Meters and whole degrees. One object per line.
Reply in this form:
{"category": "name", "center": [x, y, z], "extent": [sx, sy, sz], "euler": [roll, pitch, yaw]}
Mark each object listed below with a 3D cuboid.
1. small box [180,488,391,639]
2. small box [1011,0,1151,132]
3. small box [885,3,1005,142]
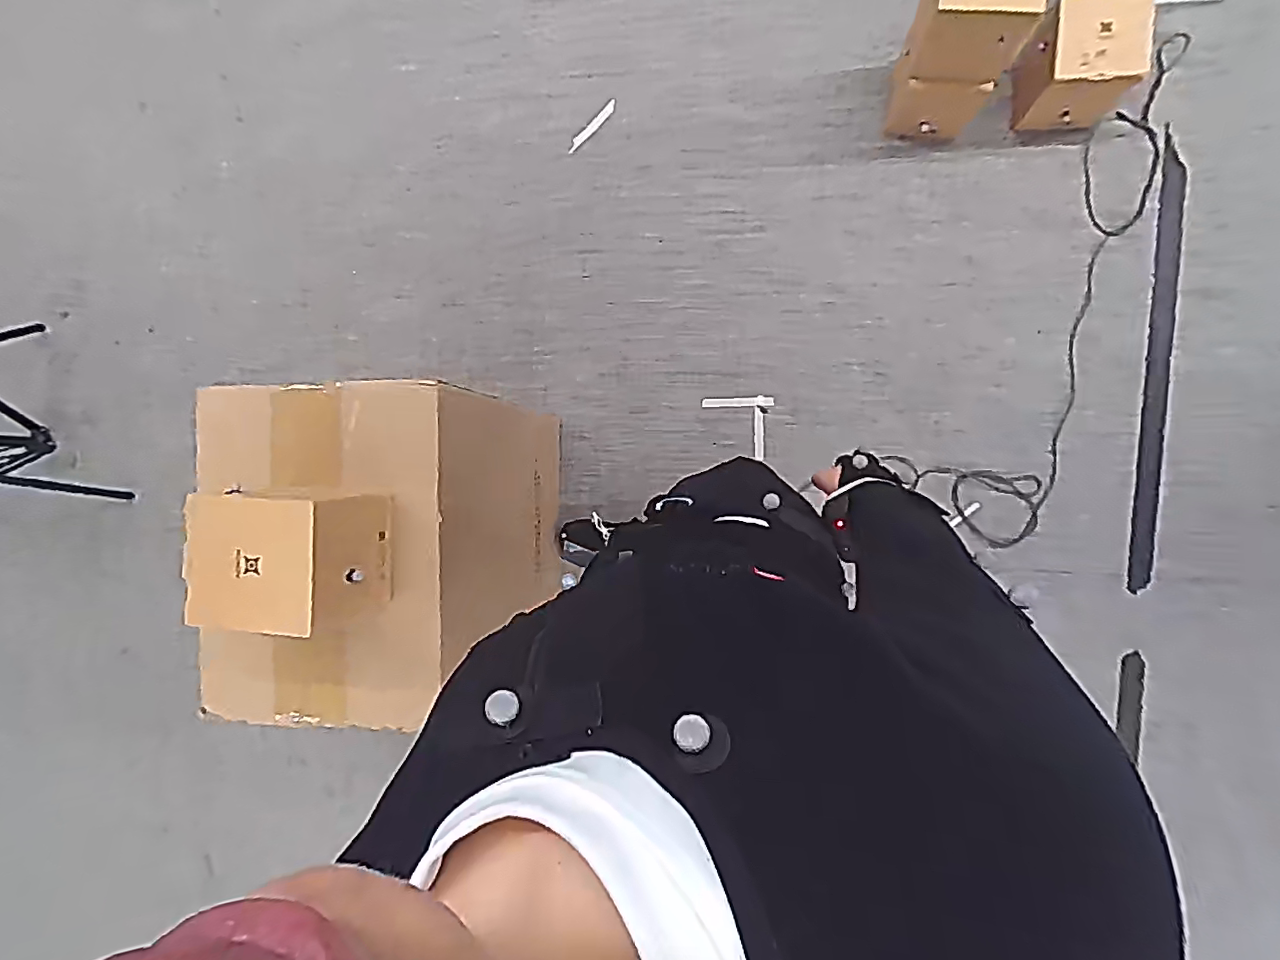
{"category": "small box", "center": [-0.454, 0.099, 0.716], "extent": [0.179, 0.176, 0.168], "euler": [2, 92, 8]}
{"category": "small box", "center": [0.913, -0.870, 1.136], "extent": [0.168, 0.176, 0.179], "euler": [4, 92, 10]}
{"category": "small box", "center": [0.650, -0.877, 1.173], "extent": [0.168, 0.176, 0.179], "euler": [9, 94, 8]}
